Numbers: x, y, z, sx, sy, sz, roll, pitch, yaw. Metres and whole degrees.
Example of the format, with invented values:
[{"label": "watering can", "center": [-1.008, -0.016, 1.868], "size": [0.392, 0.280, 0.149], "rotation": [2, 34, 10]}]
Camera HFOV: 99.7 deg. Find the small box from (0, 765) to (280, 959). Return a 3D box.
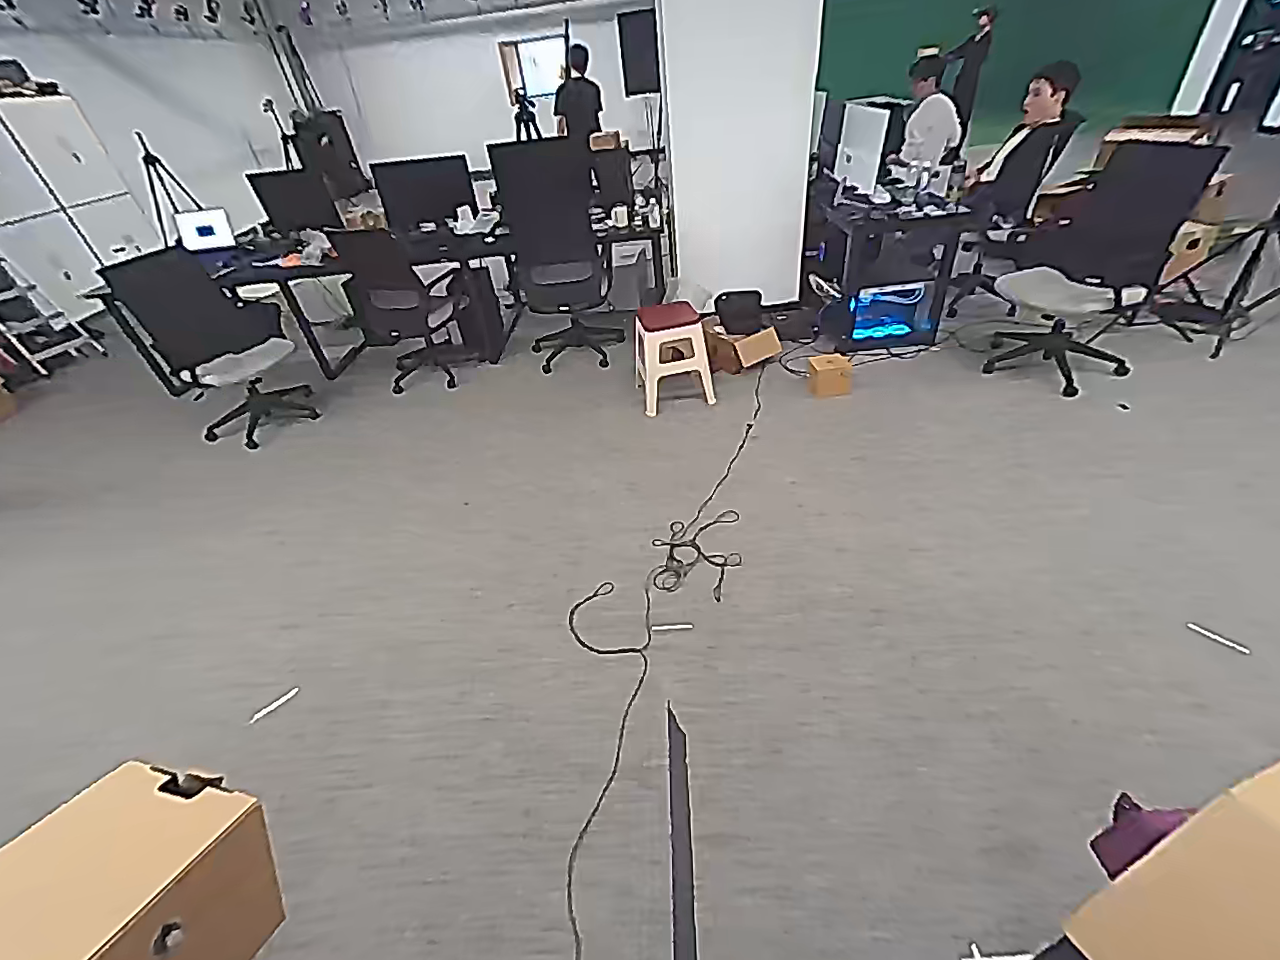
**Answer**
[{"label": "small box", "center": [-0.463, 0.402, 0.482], "size": [0.168, 0.176, 0.179], "rotation": [7, 18, 12]}]
